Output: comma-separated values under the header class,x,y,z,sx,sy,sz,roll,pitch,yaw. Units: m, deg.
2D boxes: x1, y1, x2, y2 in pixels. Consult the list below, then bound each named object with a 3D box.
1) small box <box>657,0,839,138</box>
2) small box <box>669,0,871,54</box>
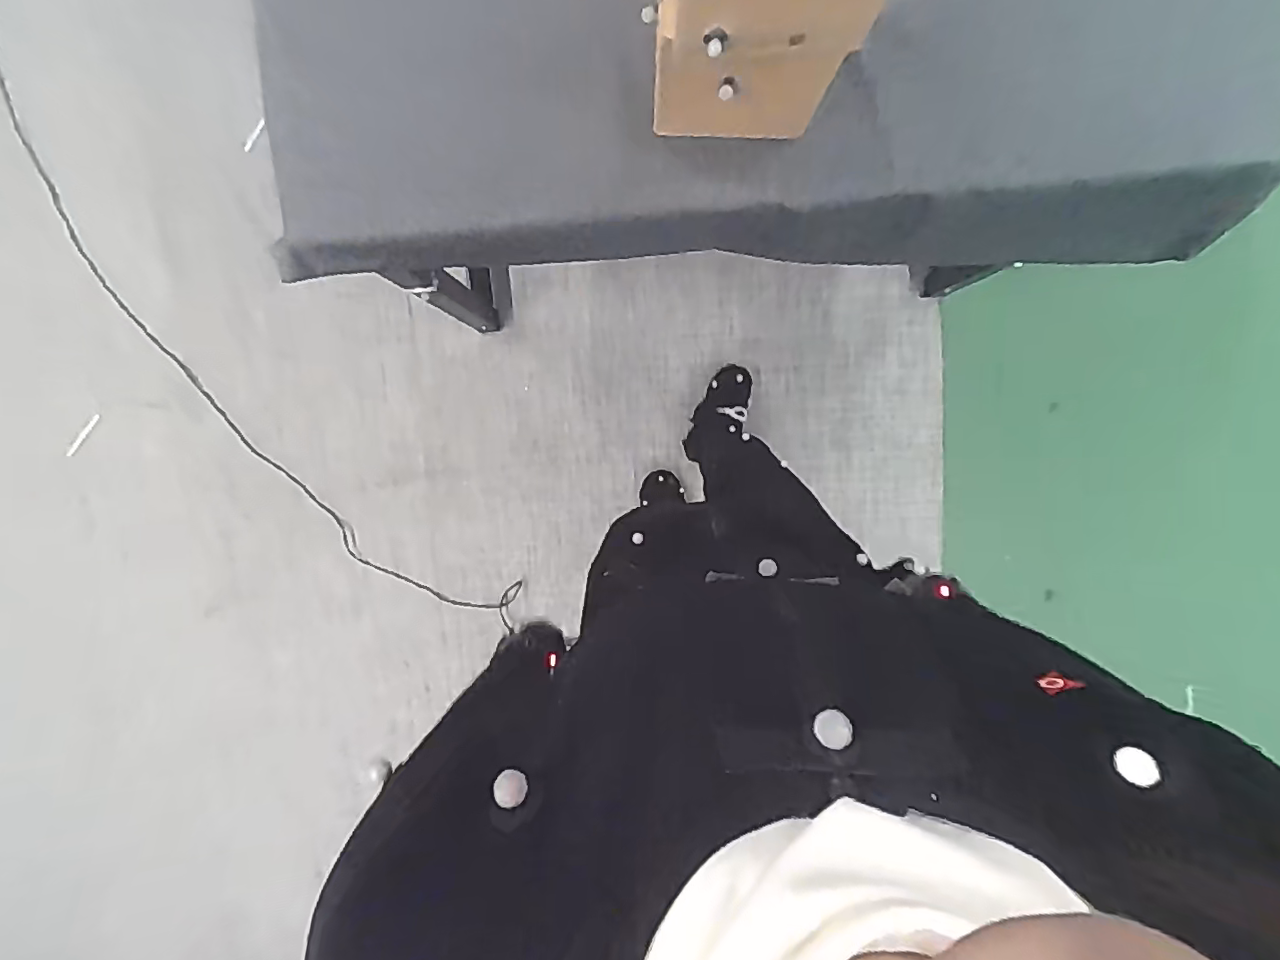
class,x,y,z,sx,sy,sz,roll,pitch,yaw
small box,0.106,-0.487,0.566,0.179,0.176,0.168,-1,93,0
small box,0.103,-0.459,0.401,0.168,0.176,0.179,-7,96,2
